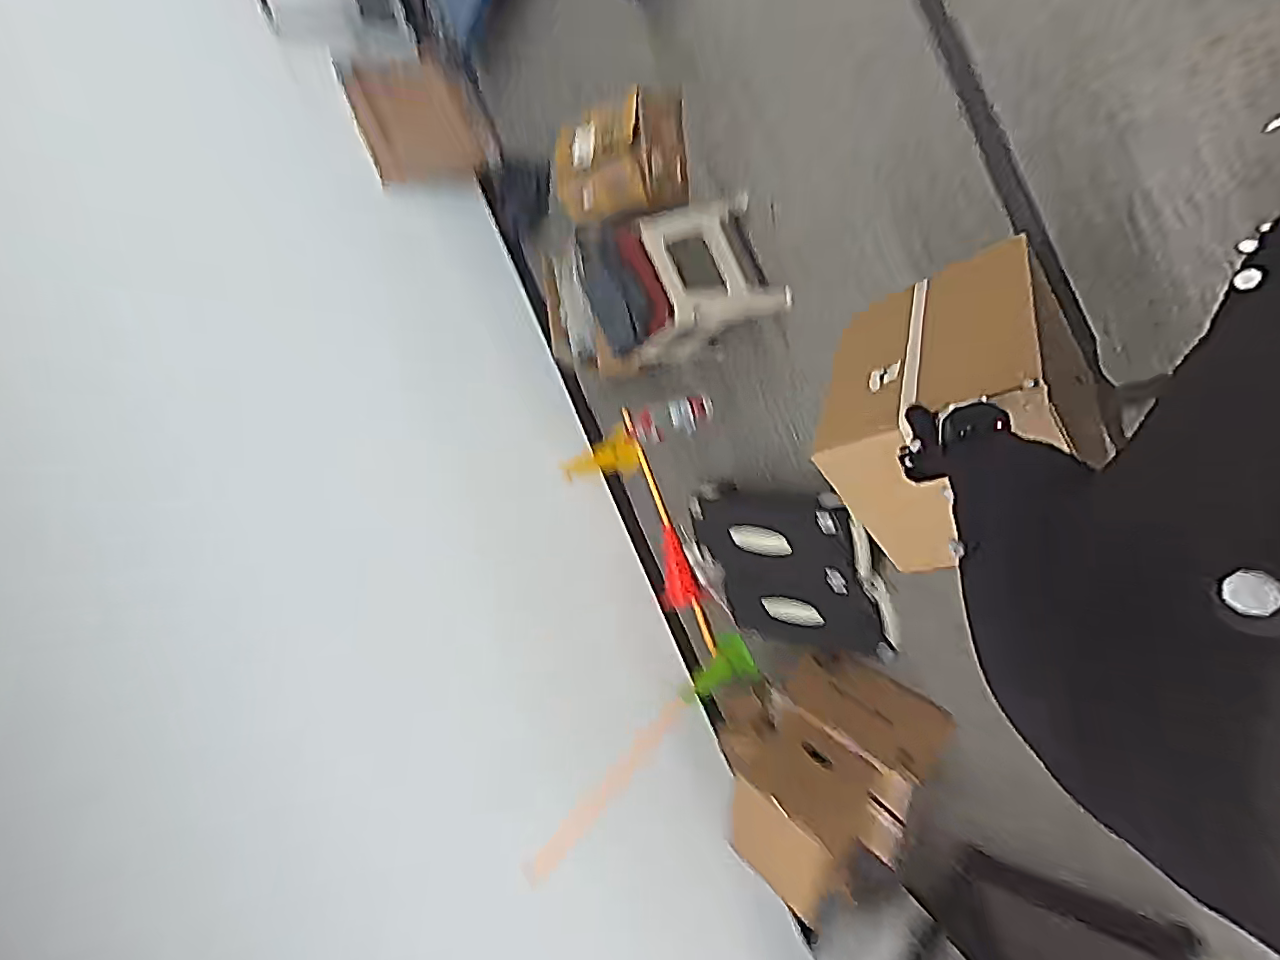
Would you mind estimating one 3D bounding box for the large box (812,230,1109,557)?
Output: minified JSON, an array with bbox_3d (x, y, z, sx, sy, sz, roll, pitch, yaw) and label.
[{"bbox_3d":[0.537,-0.133,0.922,0.320,0.408,0.320,44,141,-23],"label":"large box"}]
